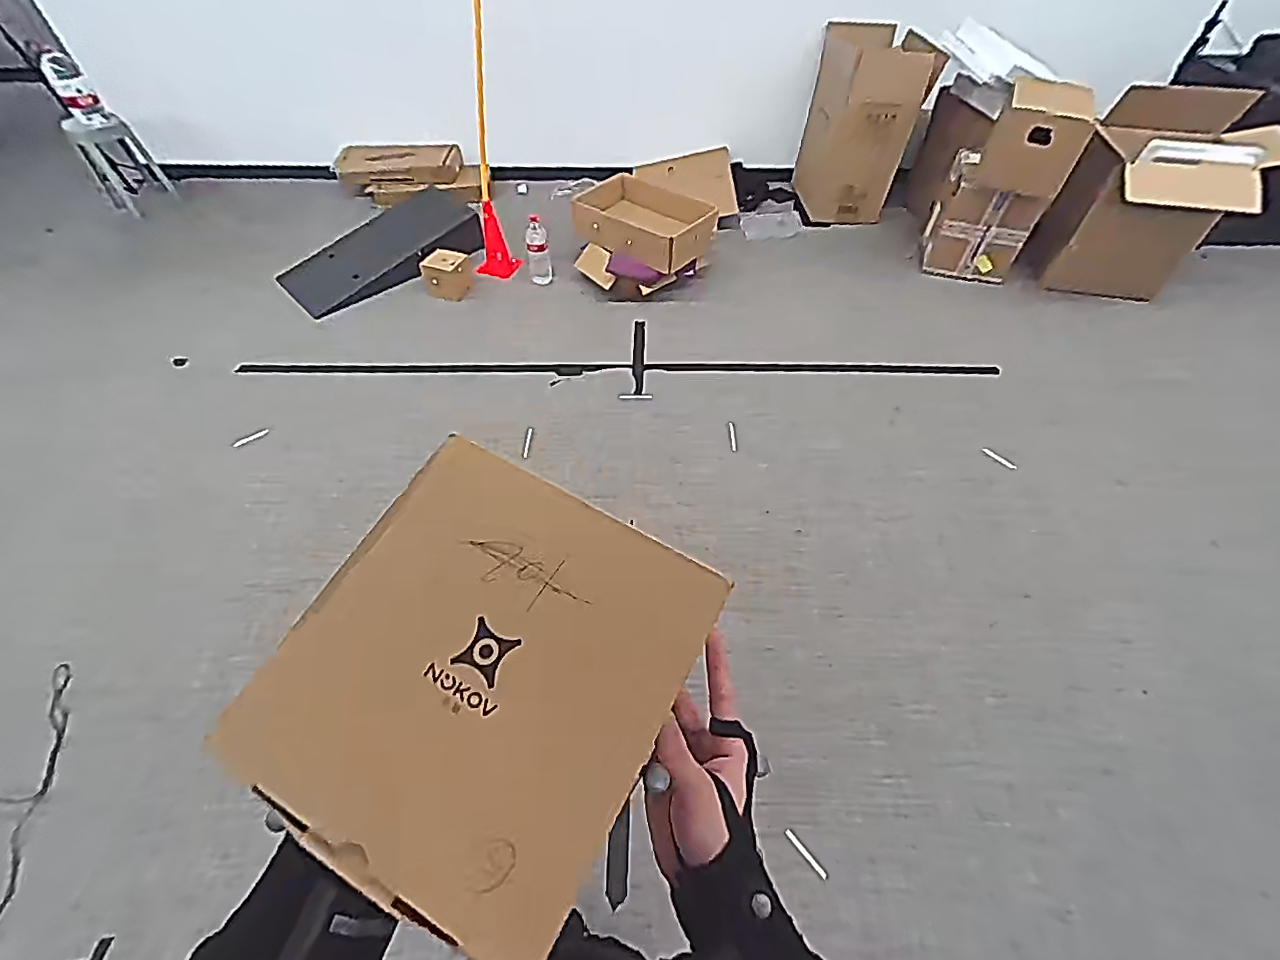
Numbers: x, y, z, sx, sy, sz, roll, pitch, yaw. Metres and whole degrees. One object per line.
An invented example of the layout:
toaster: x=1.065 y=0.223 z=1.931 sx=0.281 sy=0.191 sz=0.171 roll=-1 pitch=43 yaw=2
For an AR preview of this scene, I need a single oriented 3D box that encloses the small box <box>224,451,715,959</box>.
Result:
small box: x=-0.071 y=0.120 z=0.322 sx=0.168 sy=0.176 sz=0.179 roll=26 pitch=68 yaw=11
